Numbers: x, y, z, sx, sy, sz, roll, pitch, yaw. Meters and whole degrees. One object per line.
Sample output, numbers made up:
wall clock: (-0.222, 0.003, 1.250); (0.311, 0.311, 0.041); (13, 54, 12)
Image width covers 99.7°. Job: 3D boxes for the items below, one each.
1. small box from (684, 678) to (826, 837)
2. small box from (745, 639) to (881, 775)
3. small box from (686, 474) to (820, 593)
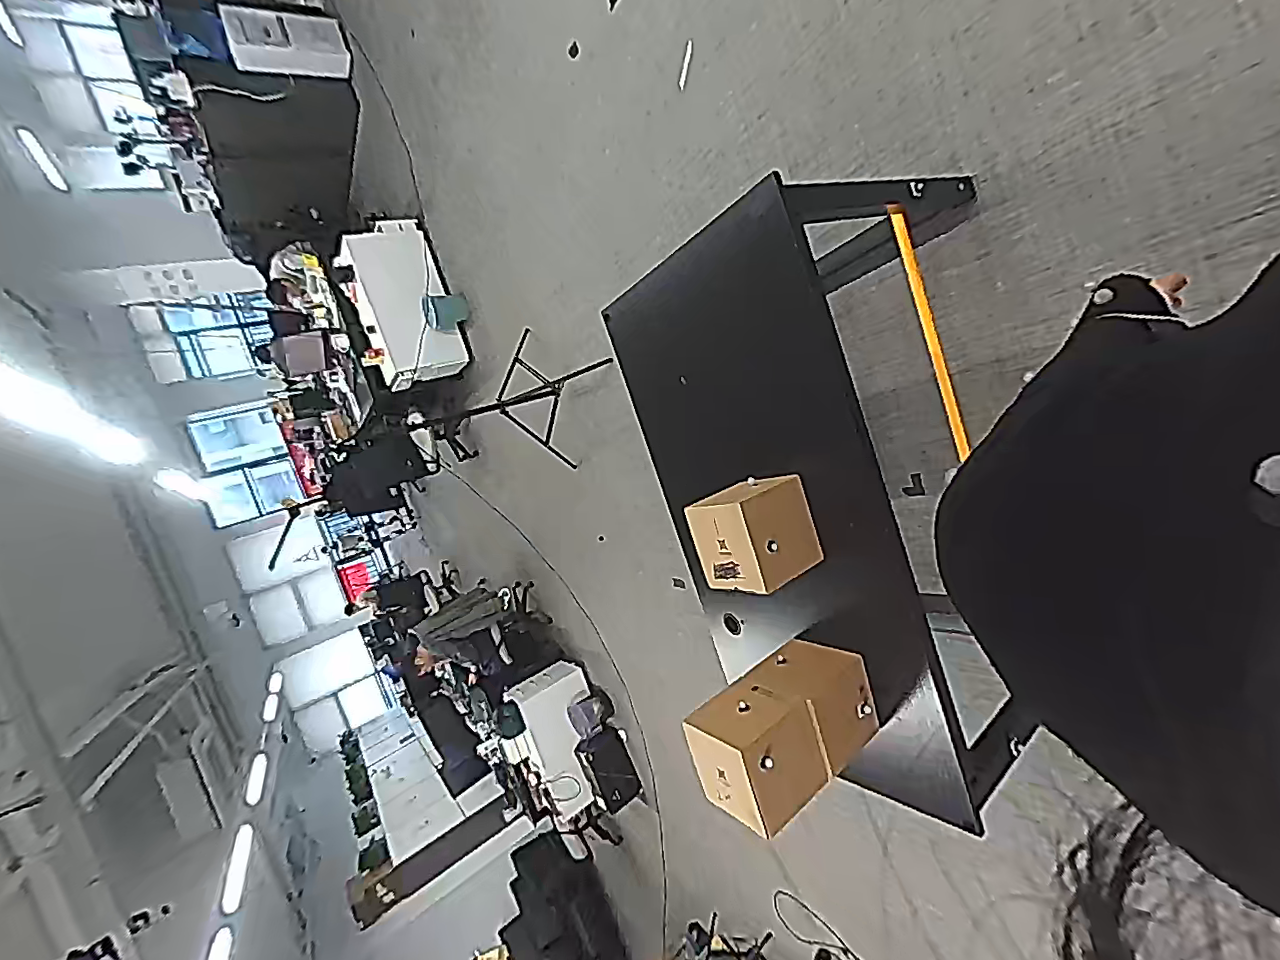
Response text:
small box: (0.215, 0.500, 1.008); (0.168, 0.176, 0.179); (-6, 105, 58)
small box: (0.347, 0.442, 1.088); (0.179, 0.176, 0.168); (-7, 104, 56)
small box: (0.225, 0.102, 1.063); (0.168, 0.176, 0.179); (-10, 99, 58)
